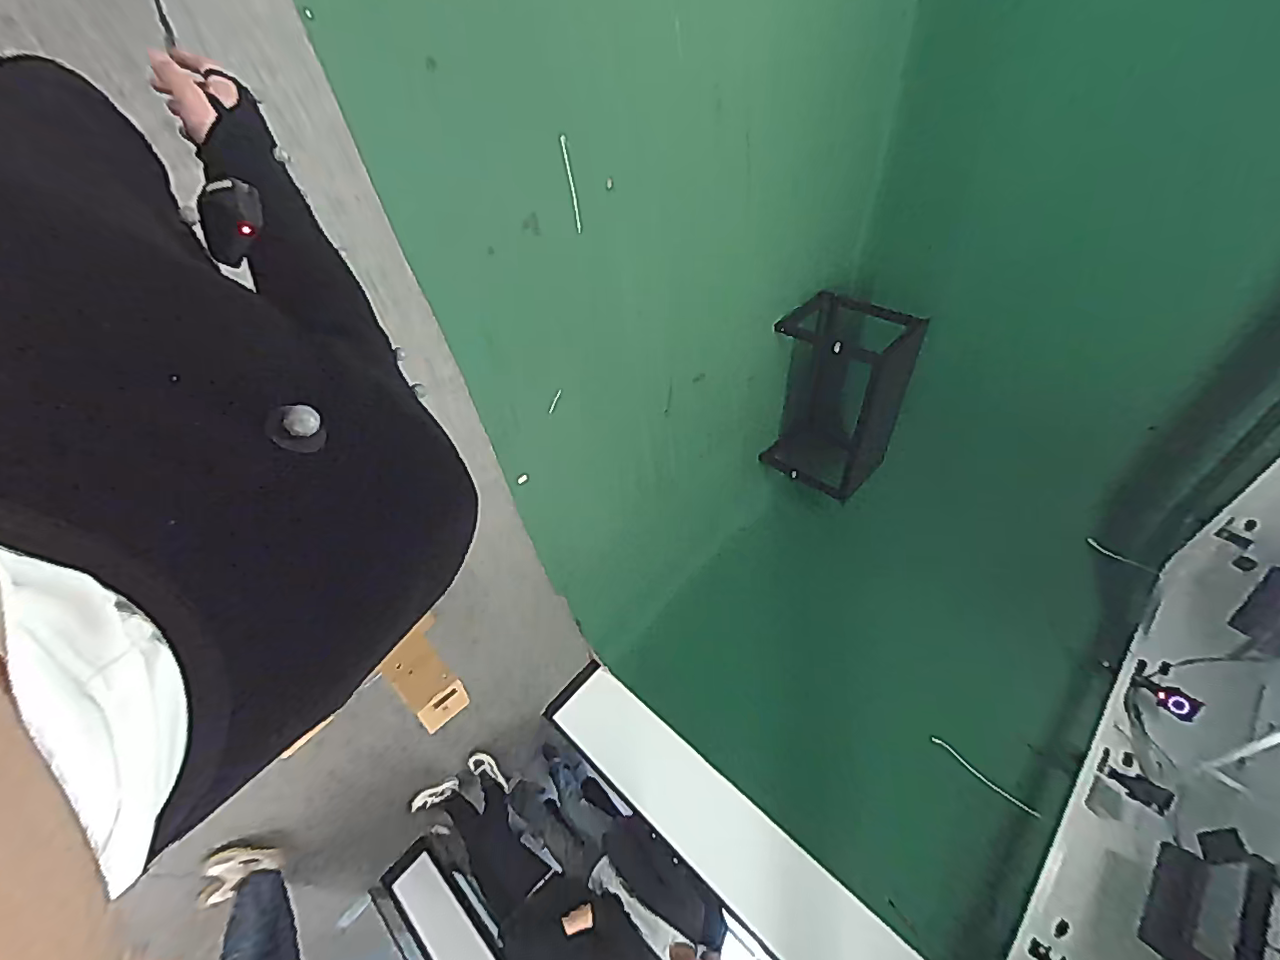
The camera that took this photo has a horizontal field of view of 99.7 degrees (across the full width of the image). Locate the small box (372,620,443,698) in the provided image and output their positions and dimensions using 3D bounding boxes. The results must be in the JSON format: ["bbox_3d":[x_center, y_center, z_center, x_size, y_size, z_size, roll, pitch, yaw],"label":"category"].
[{"bbox_3d":[-0.873,0.664,2.019,0.179,0.176,0.168,-36,143,-32],"label":"small box"}]
